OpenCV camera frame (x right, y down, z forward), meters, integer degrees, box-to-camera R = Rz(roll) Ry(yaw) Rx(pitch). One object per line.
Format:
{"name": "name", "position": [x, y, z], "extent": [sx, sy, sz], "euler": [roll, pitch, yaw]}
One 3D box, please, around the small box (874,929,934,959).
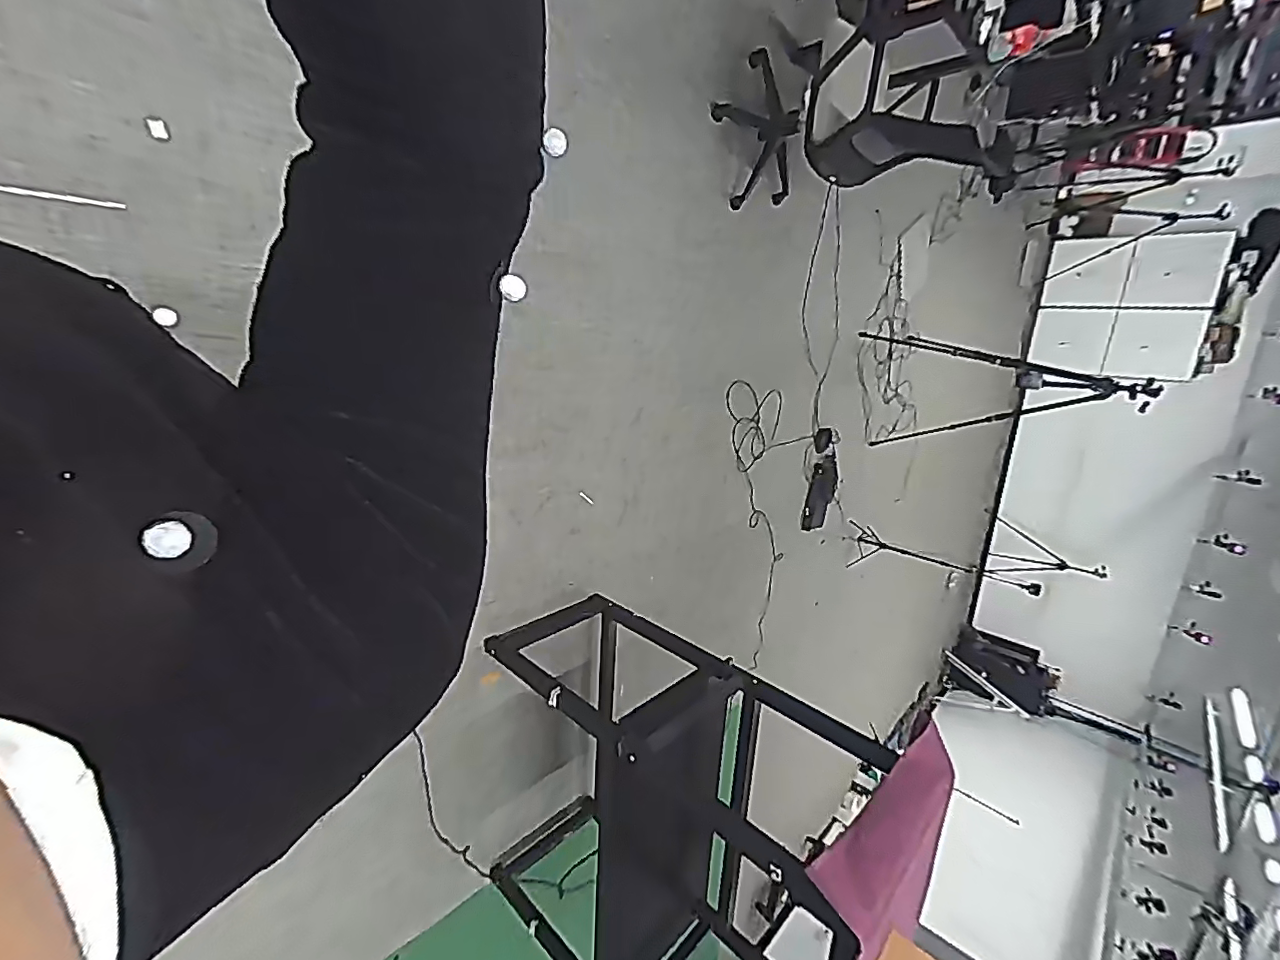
{"name": "small box", "position": [0.593, 1.161, 1.191], "extent": [0.179, 0.176, 0.168], "euler": [-14, 112, -45]}
